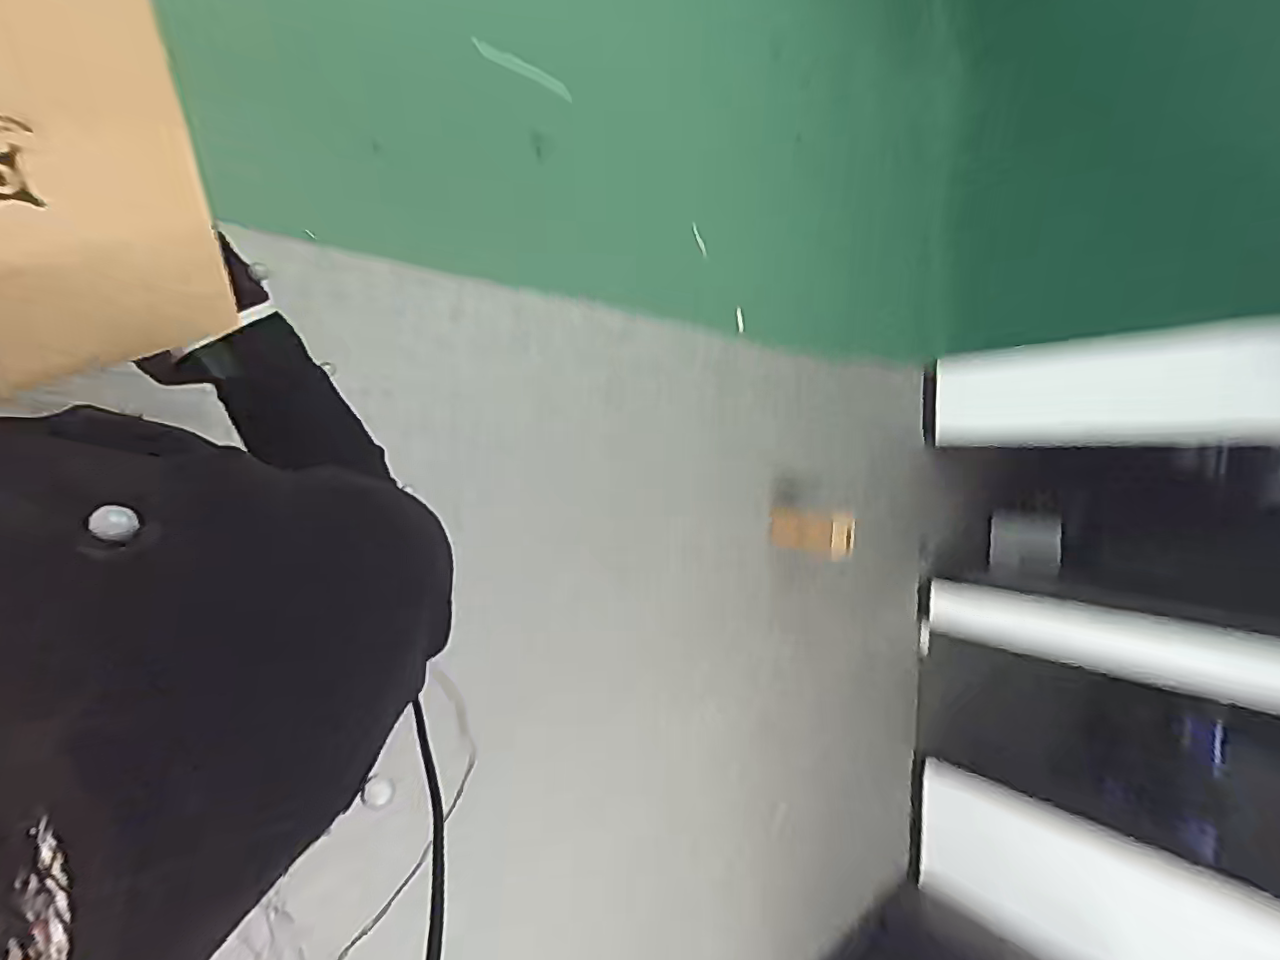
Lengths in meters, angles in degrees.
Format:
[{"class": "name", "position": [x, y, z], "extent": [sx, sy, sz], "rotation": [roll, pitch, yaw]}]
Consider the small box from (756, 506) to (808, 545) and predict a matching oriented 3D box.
[{"class": "small box", "position": [0.660, 0.211, 2.522], "extent": [0.179, 0.176, 0.168], "rotation": [7, 89, -41]}]

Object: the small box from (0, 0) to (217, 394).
[{"class": "small box", "position": [-0.340, -0.141, 0.227], "extent": [0.168, 0.176, 0.179], "rotation": [-58, 160, -58]}]
